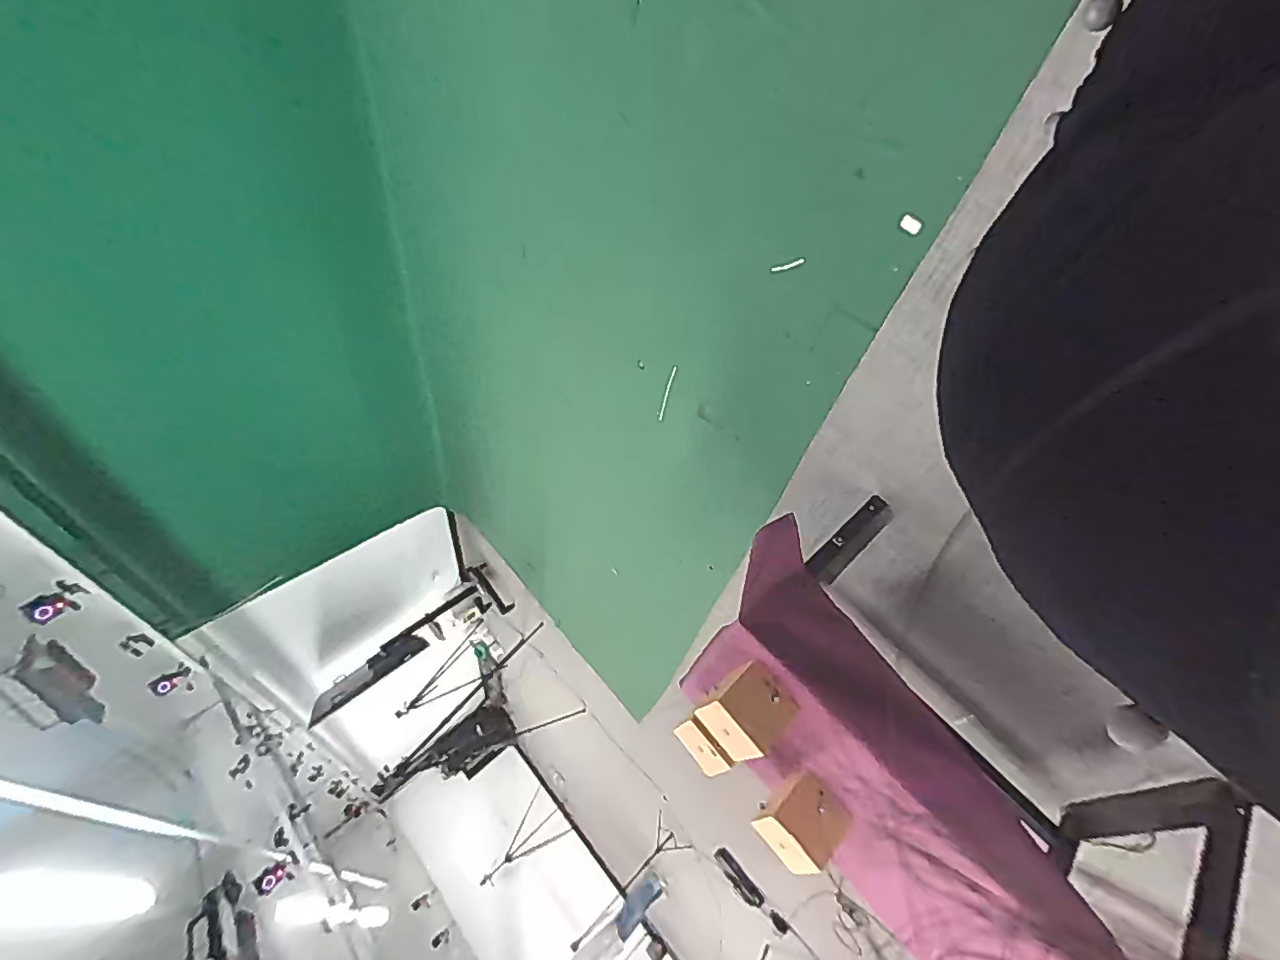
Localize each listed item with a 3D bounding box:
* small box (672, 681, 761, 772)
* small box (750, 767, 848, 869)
[{"bbox_3d":[0.228,0.725,1.596,0.168,0.176,0.179,46,147,15],"label":"small box"},{"bbox_3d":[0.439,0.930,1.489,0.168,0.176,0.179,44,145,20],"label":"small box"}]
